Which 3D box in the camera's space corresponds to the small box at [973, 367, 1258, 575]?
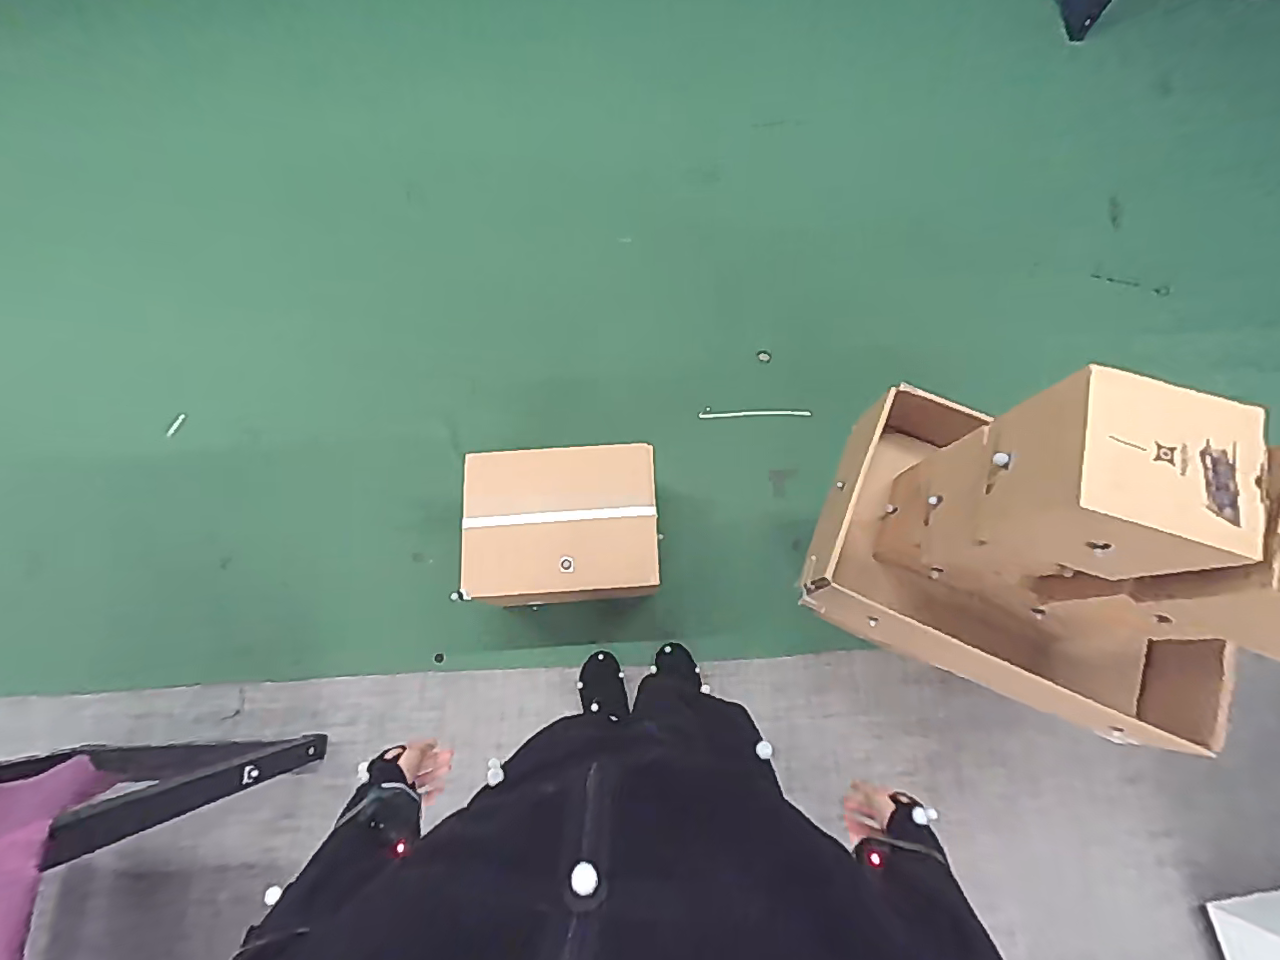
[{"bbox_3d":[0.522,0.002,0.614,0.179,0.176,0.168,17,73,5],"label":"small box"}]
